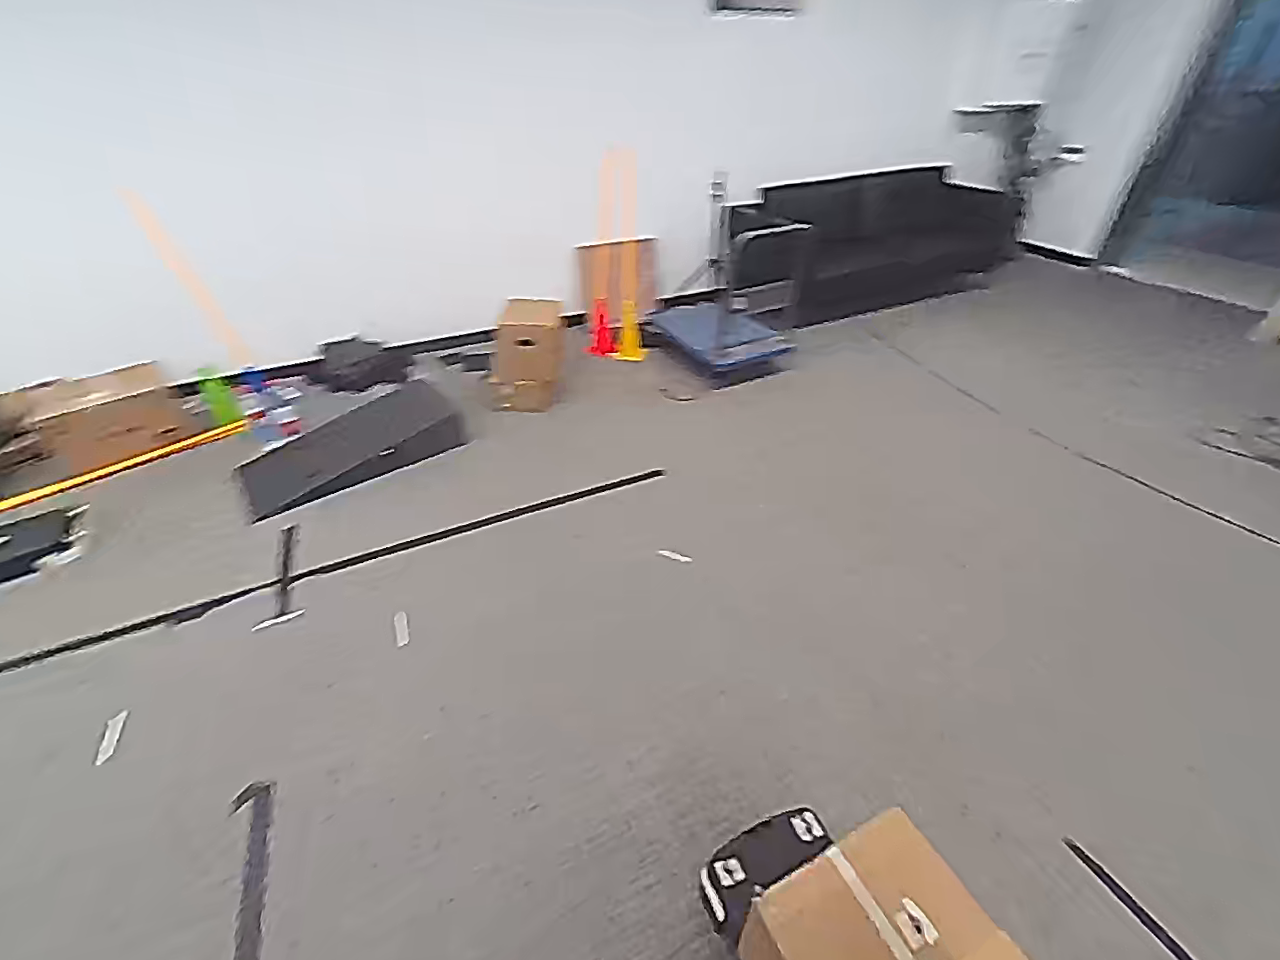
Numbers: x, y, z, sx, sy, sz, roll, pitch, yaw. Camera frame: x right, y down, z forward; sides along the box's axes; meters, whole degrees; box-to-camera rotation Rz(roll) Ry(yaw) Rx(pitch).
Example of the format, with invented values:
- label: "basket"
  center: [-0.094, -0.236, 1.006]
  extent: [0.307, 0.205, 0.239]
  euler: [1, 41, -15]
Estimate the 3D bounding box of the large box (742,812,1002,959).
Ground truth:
- label: "large box"
  center: [0.405, 0.843, 0.839]
  extent: [0.320, 0.320, 0.408]
  euler: [-16, 38, -20]
